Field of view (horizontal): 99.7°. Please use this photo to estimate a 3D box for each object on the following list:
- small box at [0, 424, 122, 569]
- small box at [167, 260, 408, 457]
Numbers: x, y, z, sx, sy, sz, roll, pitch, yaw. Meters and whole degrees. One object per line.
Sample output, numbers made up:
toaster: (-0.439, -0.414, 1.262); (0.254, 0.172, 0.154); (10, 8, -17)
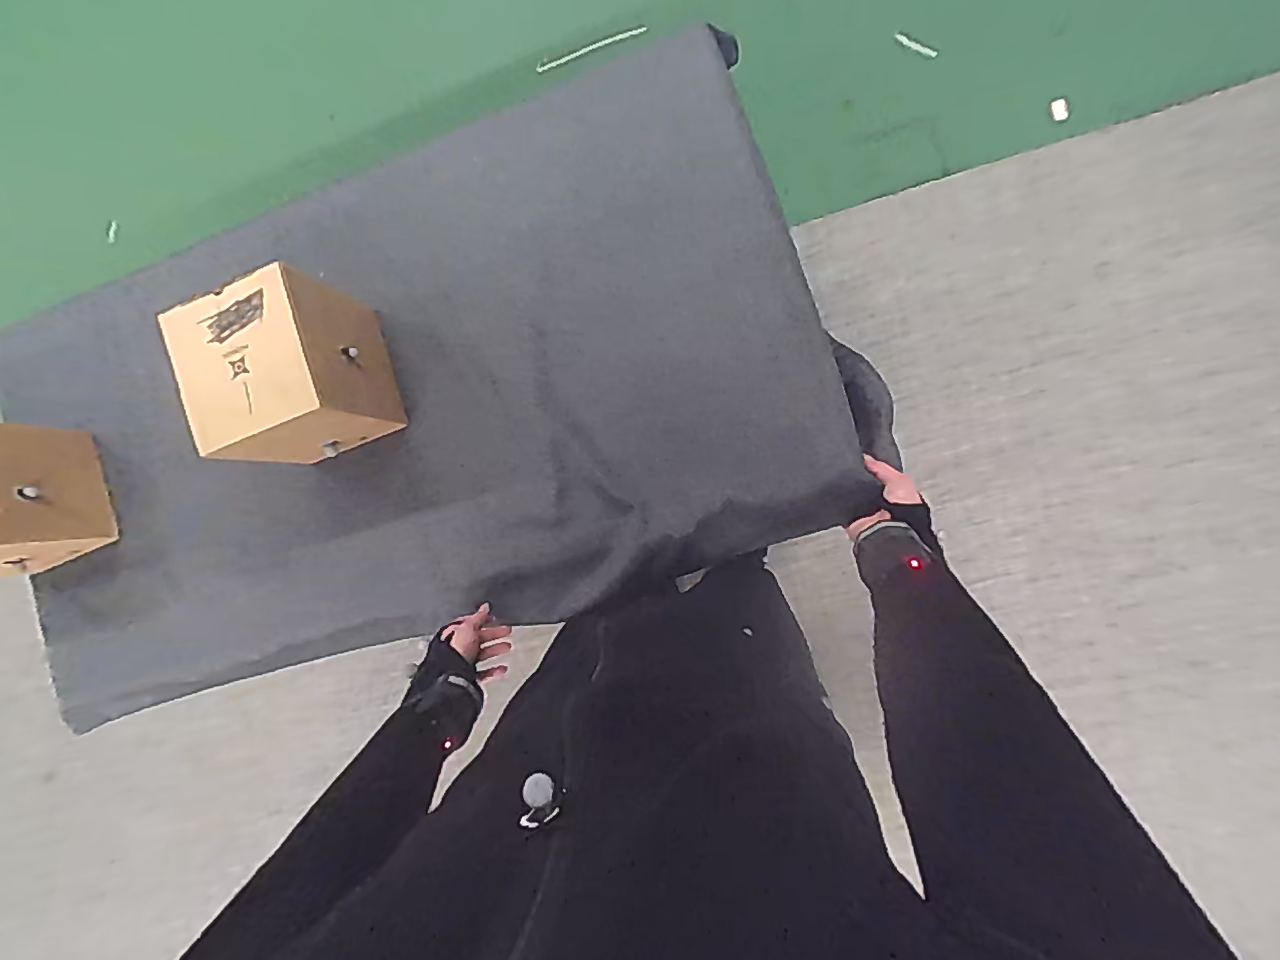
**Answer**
small box: (-0.895, 0.026, 0.762); (0.168, 0.176, 0.179); (-21, 86, 8)
small box: (-0.429, -0.137, 0.683); (0.168, 0.176, 0.179); (-19, 87, 9)
